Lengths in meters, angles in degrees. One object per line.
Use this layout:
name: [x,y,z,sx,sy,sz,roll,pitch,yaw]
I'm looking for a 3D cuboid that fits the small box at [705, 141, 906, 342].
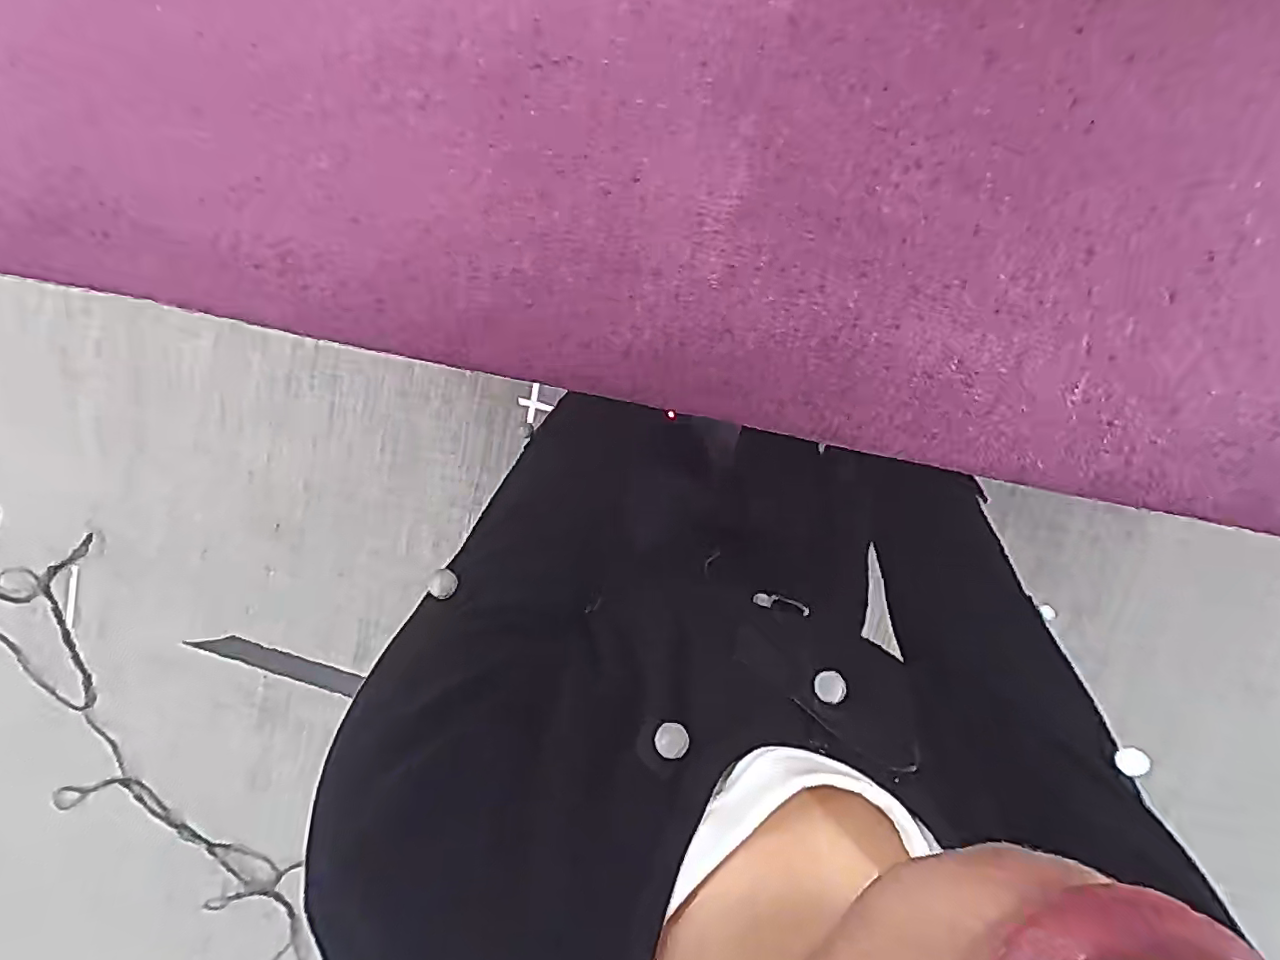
small box: [0.186,-0.274,0.660,0.179,0.176,0.168,15,100,6]
